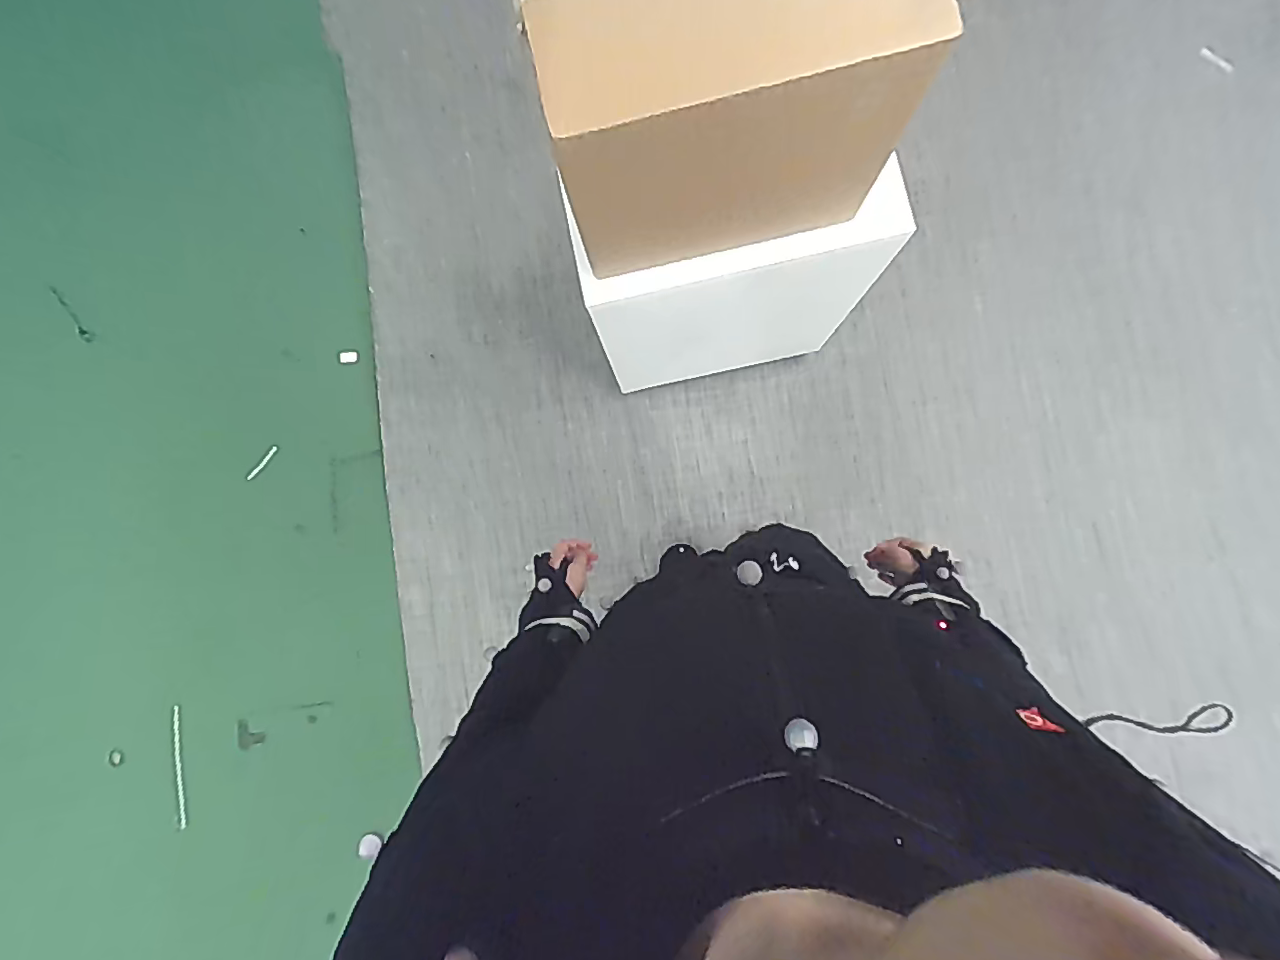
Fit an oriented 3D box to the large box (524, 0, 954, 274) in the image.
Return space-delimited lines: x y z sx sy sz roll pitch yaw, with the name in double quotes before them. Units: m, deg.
"large box" 0.084 -0.515 0.688 0.408 0.320 0.320 -13 85 1
